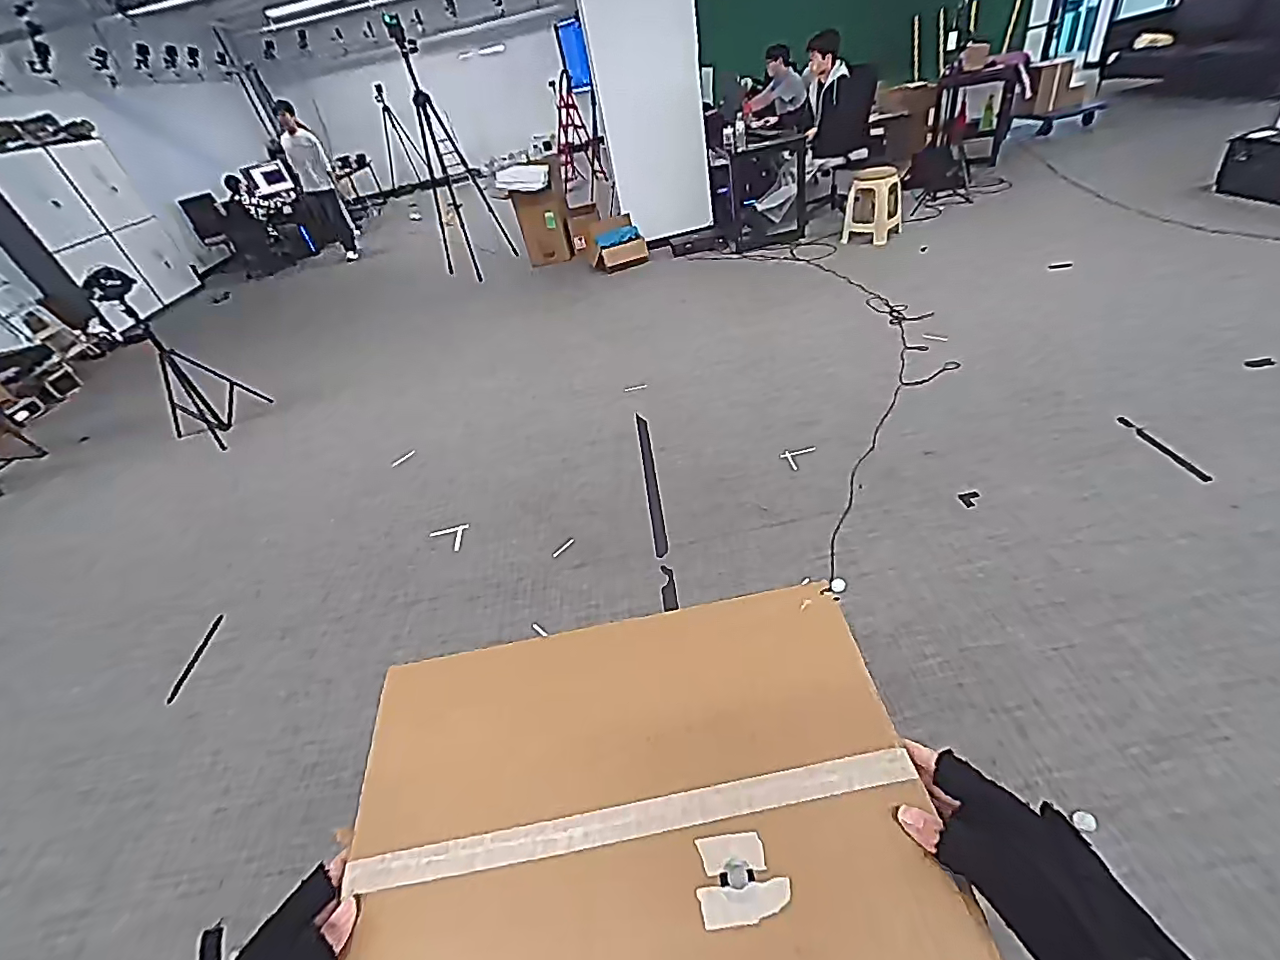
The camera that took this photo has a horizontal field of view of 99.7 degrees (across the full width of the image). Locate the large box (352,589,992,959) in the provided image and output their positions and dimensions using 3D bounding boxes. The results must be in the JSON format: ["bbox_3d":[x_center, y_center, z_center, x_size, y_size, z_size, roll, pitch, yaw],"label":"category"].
[{"bbox_3d":[0.014,0.349,0.500,0.408,0.320,0.320,-11,46,-1],"label":"large box"}]
